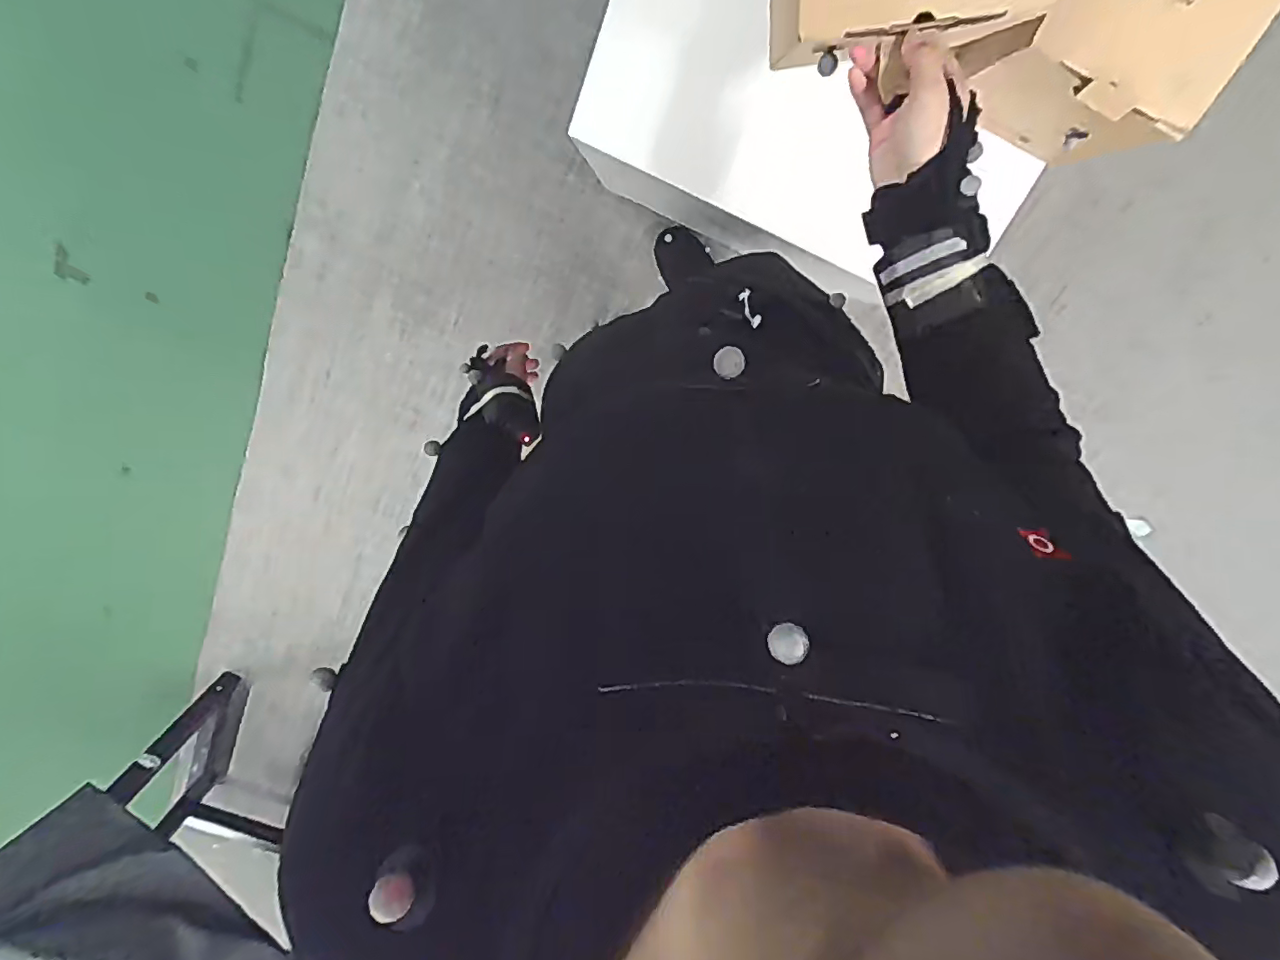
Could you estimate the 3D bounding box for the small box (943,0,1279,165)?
[{"bbox_3d":[0.415,-0.415,0.488,0.168,0.176,0.179,21,111,-8],"label":"small box"}]
